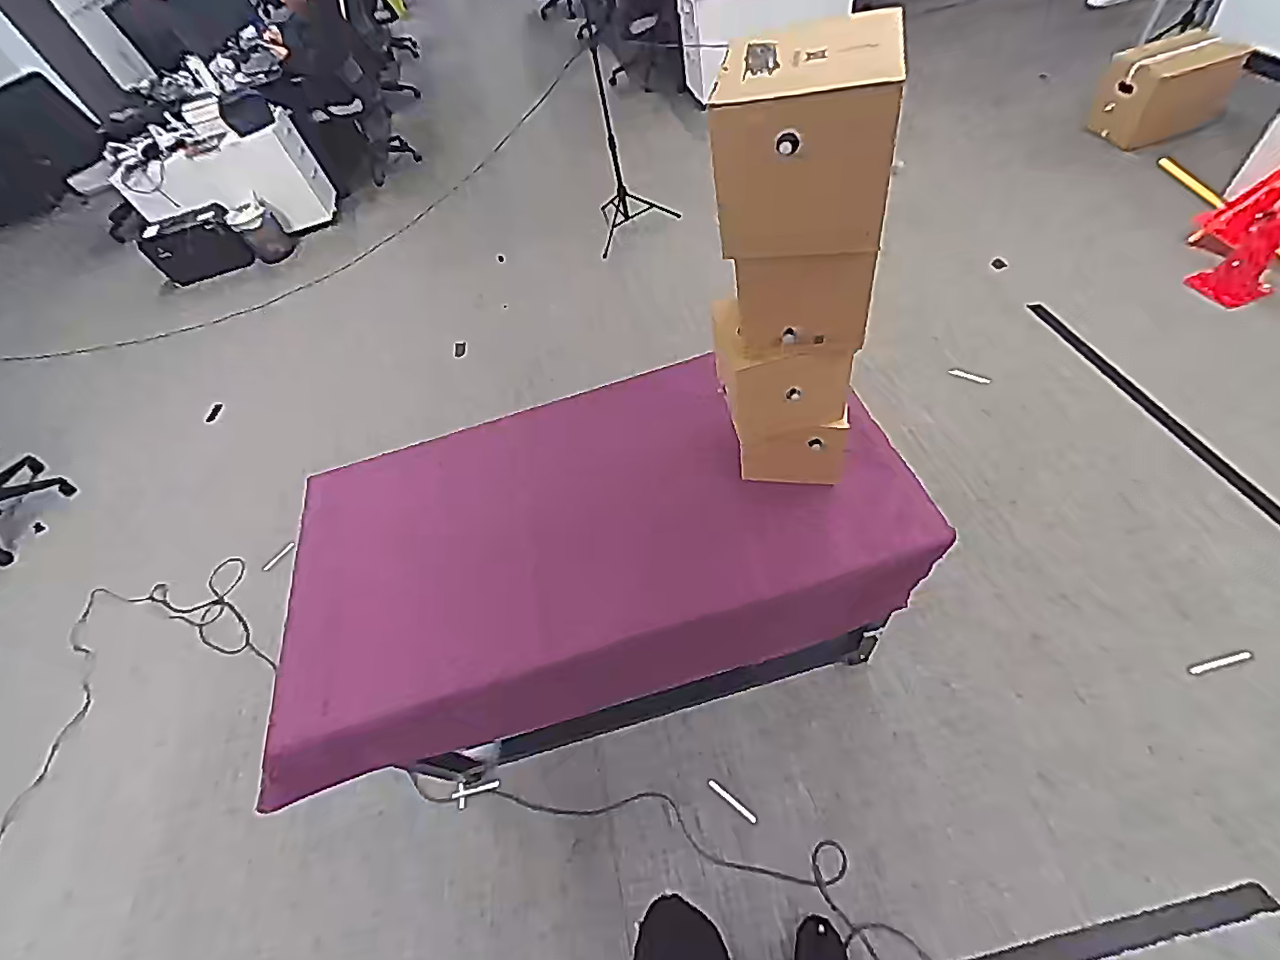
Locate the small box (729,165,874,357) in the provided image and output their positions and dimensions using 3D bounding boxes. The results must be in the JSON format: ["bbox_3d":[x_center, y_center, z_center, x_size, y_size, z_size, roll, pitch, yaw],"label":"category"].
[{"bbox_3d":[0.212,-0.291,0.736,0.168,0.176,0.179,-1,57,15],"label":"small box"}]

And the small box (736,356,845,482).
[{"bbox_3d":[0.276,-0.110,1.002,0.179,0.176,0.168,4,56,15],"label":"small box"}]
